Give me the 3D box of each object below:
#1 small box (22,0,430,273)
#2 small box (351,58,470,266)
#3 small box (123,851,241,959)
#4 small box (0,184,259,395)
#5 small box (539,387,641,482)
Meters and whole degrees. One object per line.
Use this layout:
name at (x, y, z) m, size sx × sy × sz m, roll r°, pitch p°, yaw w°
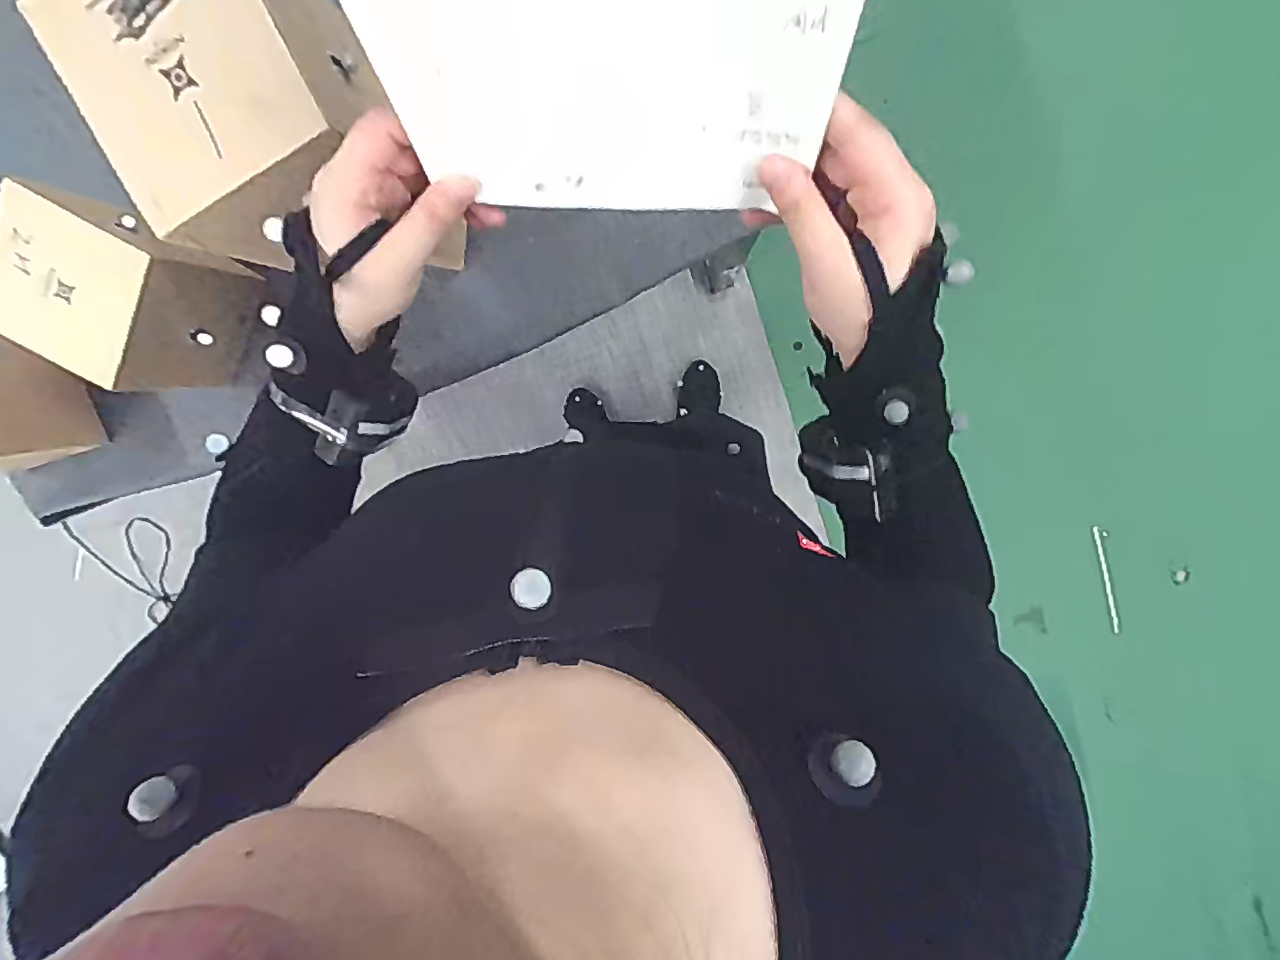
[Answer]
small box at (-0.316, -0.300, 0.455) m, size 0.168 × 0.176 × 0.179 m, roll -24°, pitch 99°, yaw 10°
small box at (-0.309, -0.348, 0.613) m, size 0.179 × 0.176 × 0.168 m, roll 9°, pitch 103°, yaw 4°
small box at (-1.210, 1.132, 1.448) m, size 0.179 × 0.176 × 0.168 m, roll 1°, pitch 102°, yaw 2°
small box at (-0.625, -0.221, 0.666) m, size 0.179 × 0.176 × 0.168 m, roll 29°, pitch 102°, yaw -1°
small box at (-0.121, -0.114, 1.375) m, size 0.176 × 0.168 × 0.179 m, roll 30°, pitch 78°, yaw -31°
